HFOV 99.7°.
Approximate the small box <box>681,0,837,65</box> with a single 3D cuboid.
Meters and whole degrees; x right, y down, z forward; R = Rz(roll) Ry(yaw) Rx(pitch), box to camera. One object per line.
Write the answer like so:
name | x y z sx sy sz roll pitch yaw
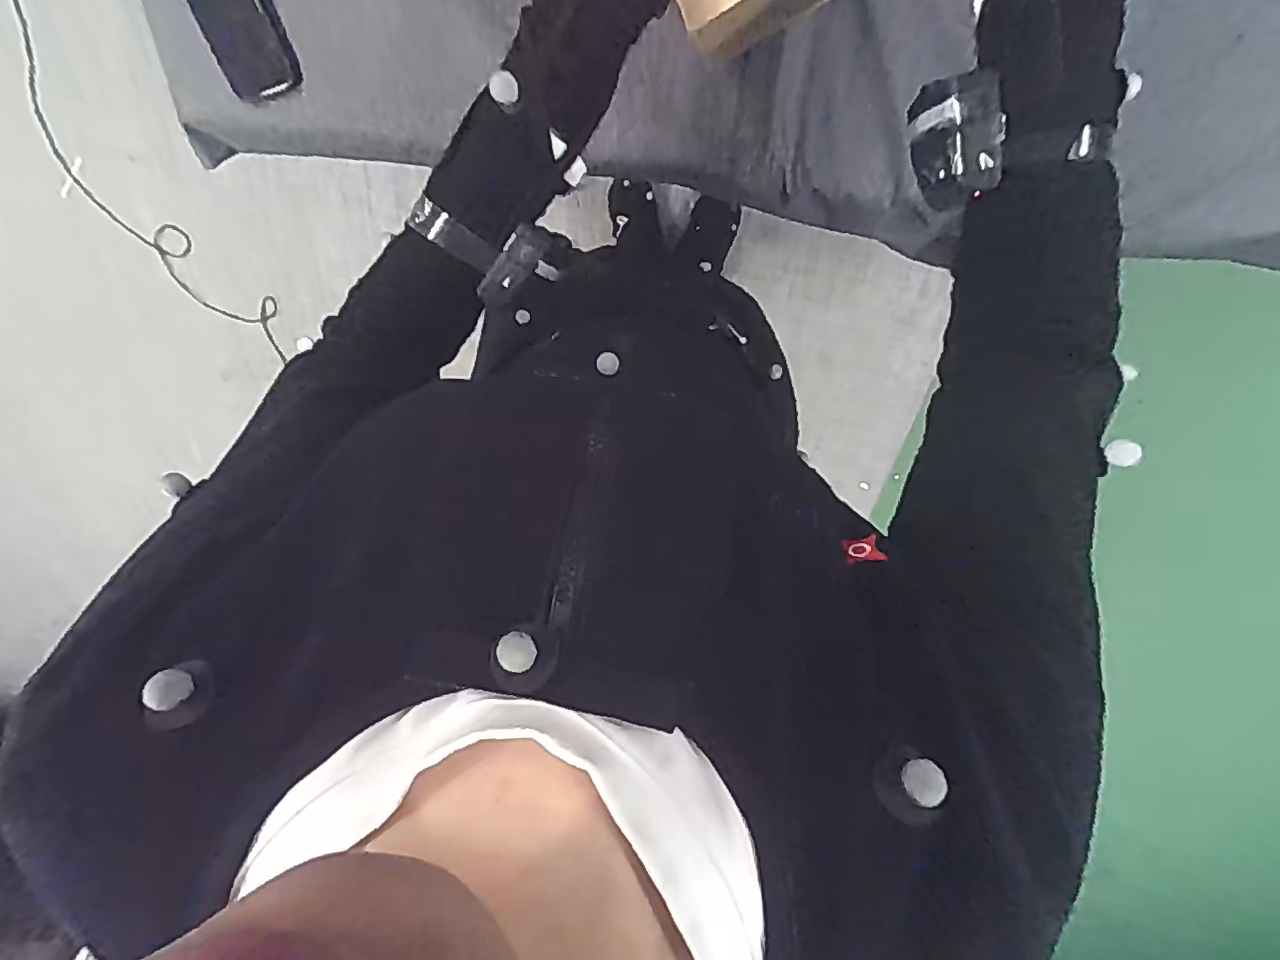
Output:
small box | 0.092 -0.418 0.355 0.179 0.176 0.168 -18 113 22
